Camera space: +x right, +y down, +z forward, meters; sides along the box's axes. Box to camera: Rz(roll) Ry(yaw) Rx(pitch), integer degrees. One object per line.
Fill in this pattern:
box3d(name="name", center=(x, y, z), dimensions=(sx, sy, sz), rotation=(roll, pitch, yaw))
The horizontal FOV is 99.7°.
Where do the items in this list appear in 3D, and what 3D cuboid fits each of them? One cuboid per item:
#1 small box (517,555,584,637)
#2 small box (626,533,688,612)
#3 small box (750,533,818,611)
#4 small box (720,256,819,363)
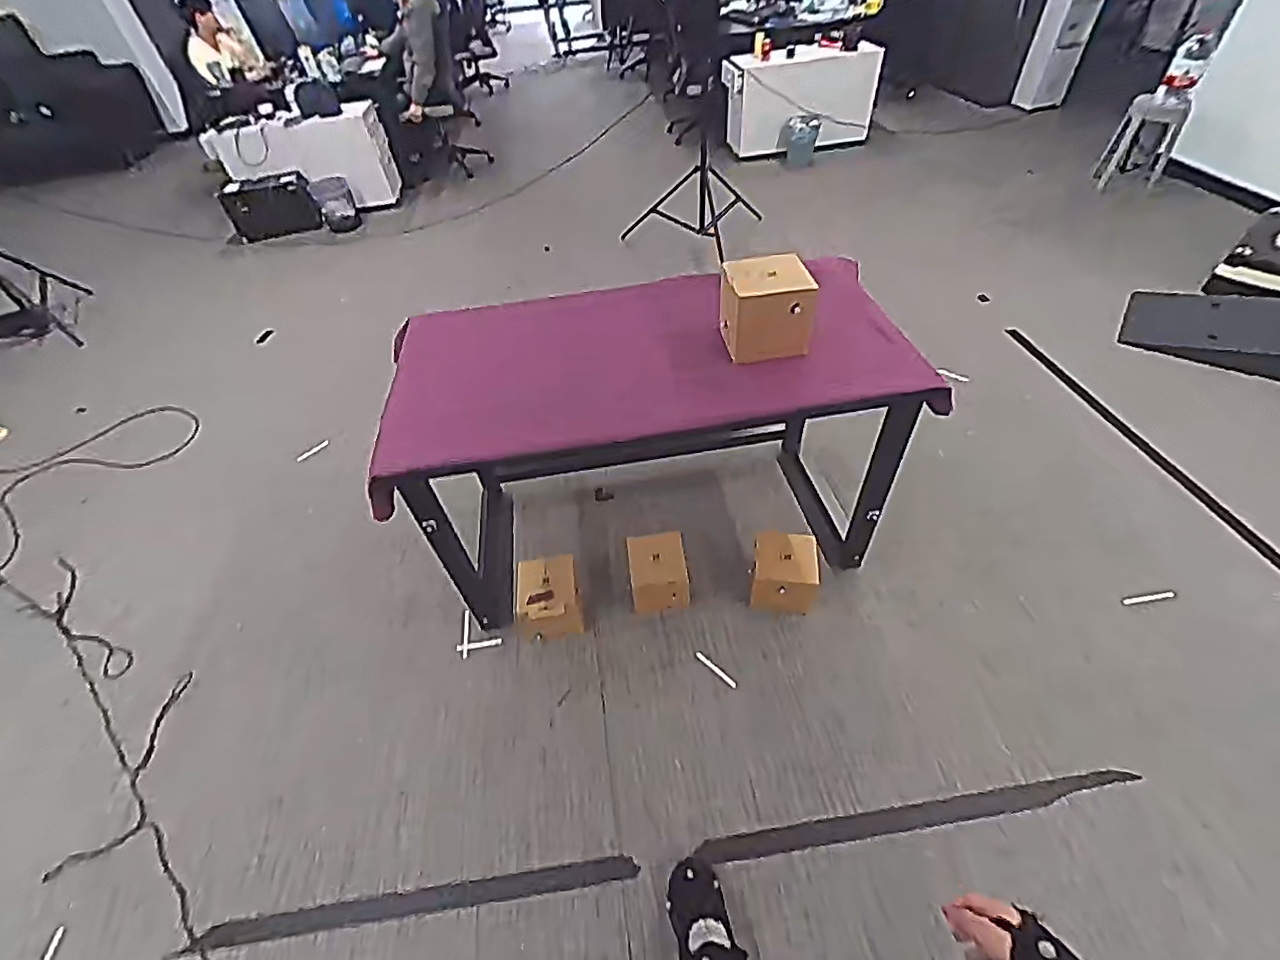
box3d(name="small box", center=(-0.263, 0.352, 1.608), dimensions=(0.168, 0.176, 0.179), rotation=(-8, 46, -2))
box3d(name="small box", center=(0.052, 0.287, 1.639), dimensions=(0.168, 0.176, 0.179), rotation=(-7, 46, -2))
box3d(name="small box", center=(0.425, 0.277, 1.611), dimensions=(0.179, 0.176, 0.168), rotation=(3, 49, 10))
box3d(name="small box", center=(0.288, -0.389, 1.241), dimensions=(0.179, 0.176, 0.168), rotation=(-8, 47, -1))
